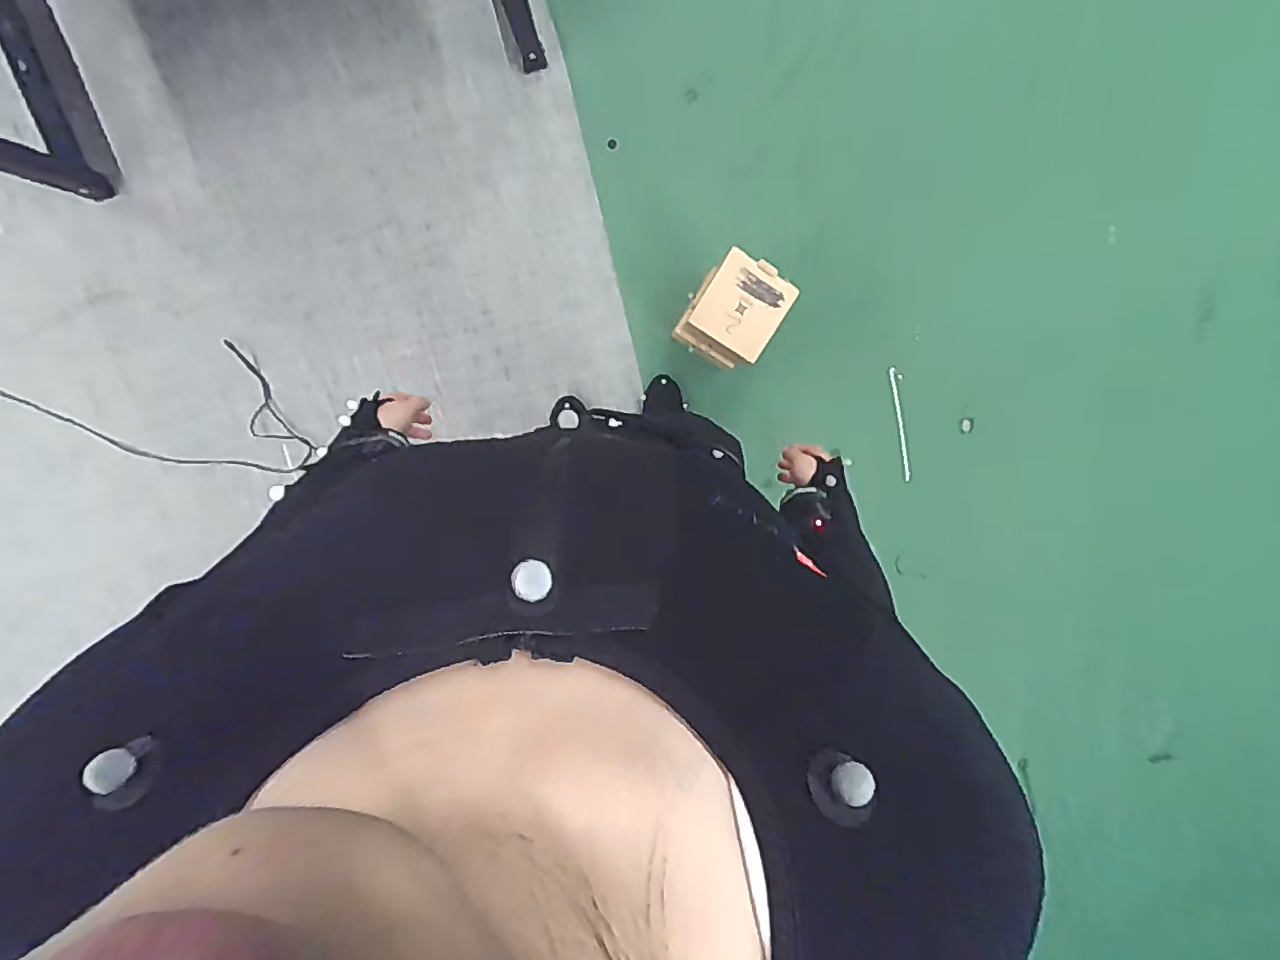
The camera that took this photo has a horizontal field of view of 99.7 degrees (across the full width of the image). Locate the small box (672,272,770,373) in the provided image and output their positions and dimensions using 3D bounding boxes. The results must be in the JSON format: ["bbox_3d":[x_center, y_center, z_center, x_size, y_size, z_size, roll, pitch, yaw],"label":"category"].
[{"bbox_3d":[0.192,-0.379,1.335,0.168,0.176,0.179,31,99,-6],"label":"small box"}]
